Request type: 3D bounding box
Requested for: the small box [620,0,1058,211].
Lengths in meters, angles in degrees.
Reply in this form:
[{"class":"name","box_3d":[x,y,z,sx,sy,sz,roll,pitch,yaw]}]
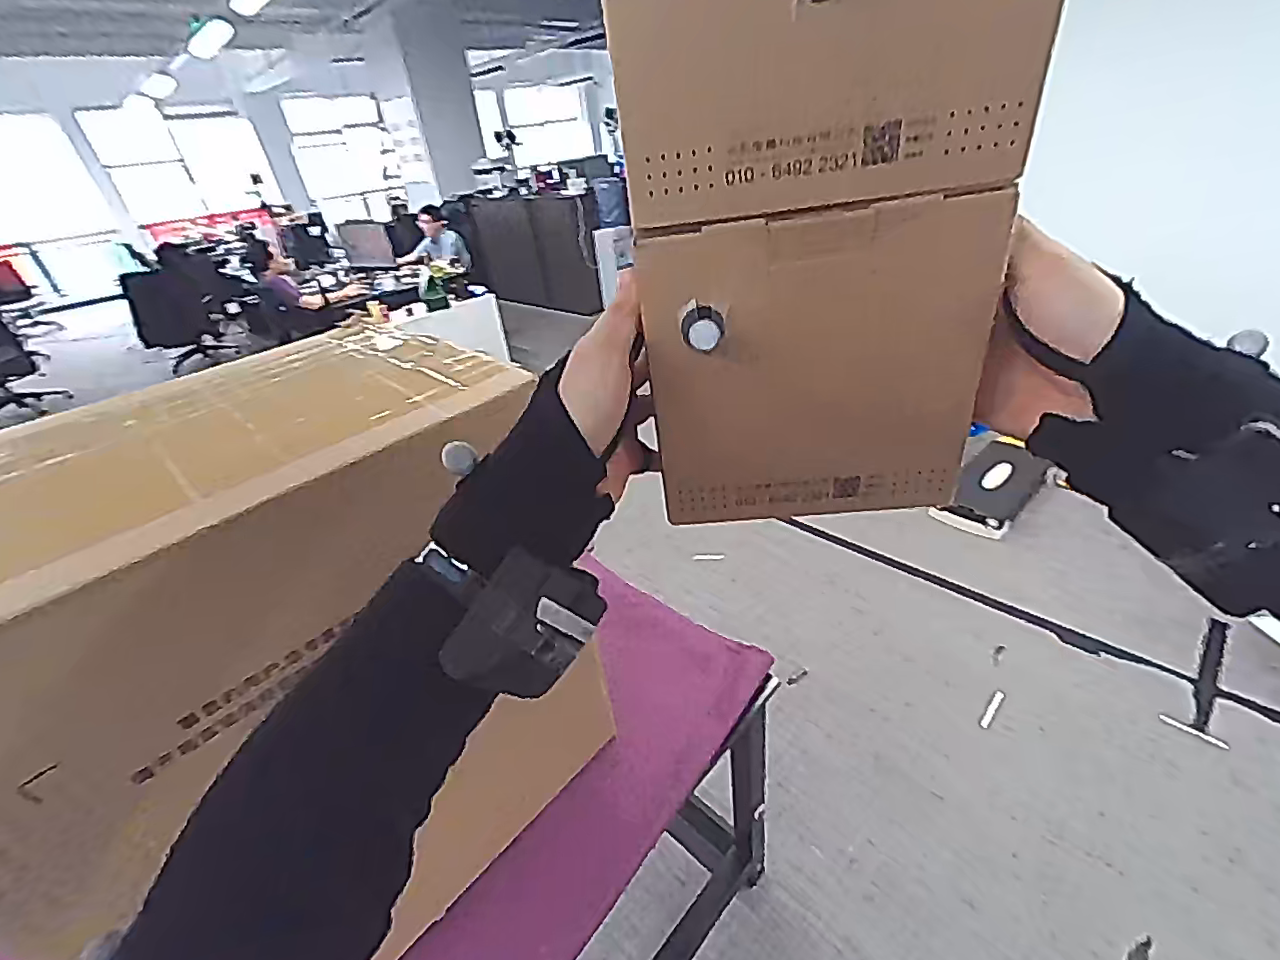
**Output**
[{"class":"small box","box_3d":[0.076,-0.235,0.257,0.168,0.176,0.179,-4,33,5]}]
